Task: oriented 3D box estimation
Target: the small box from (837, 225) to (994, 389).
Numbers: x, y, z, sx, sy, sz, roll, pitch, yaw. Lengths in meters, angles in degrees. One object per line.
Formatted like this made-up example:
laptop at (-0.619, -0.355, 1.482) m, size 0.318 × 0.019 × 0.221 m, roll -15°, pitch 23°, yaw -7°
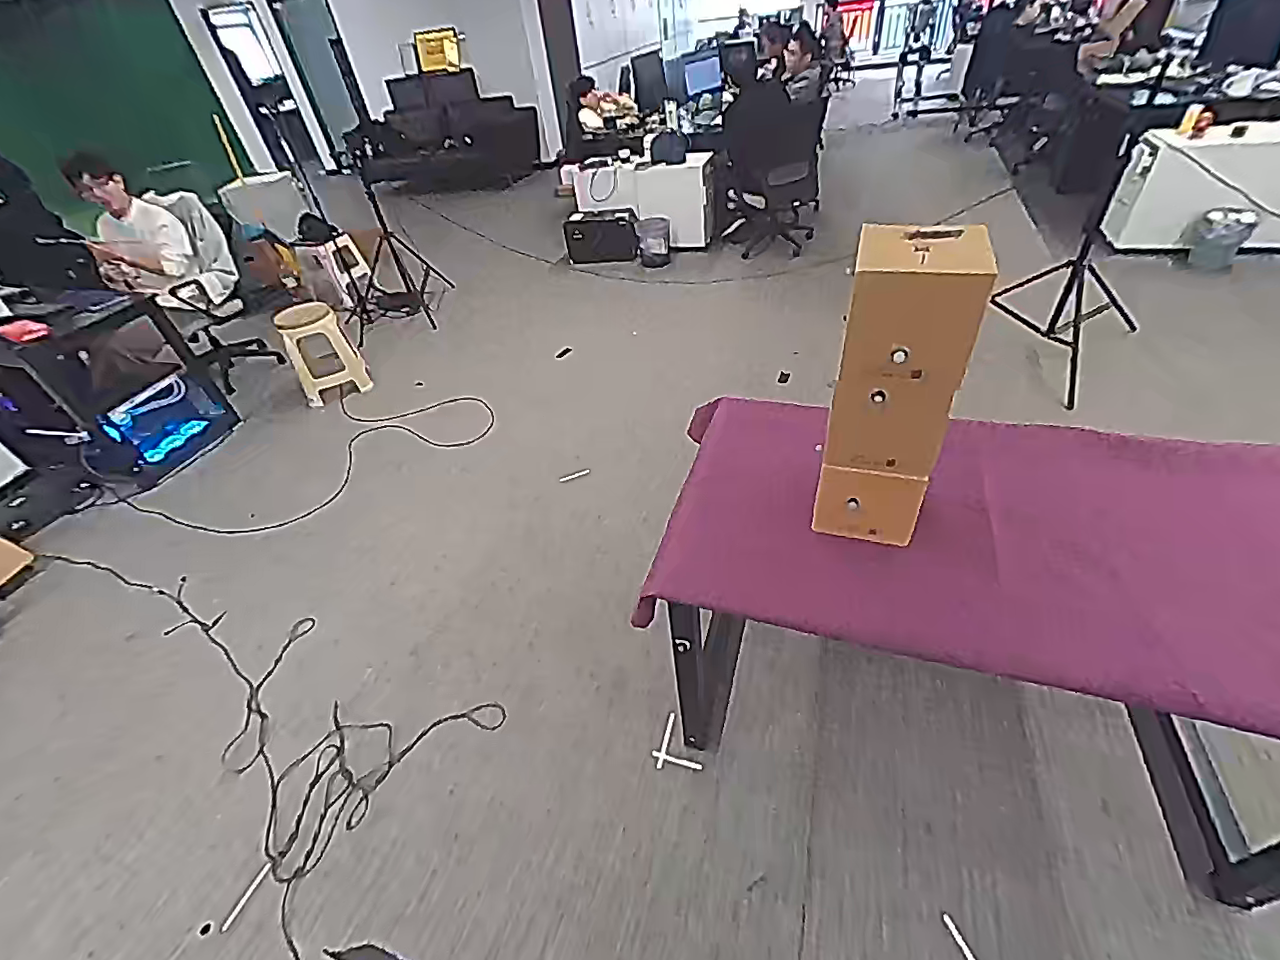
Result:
small box at (0.389, -0.255, 0.788) m, size 0.168 × 0.176 × 0.179 m, roll 9°, pitch 44°, yaw 19°

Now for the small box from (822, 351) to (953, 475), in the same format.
small box at (0.403, -0.134, 0.899) m, size 0.168 × 0.176 × 0.179 m, roll 8°, pitch 43°, yaw 18°

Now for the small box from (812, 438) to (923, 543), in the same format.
small box at (0.418, -0.008, 1.002) m, size 0.168 × 0.176 × 0.179 m, roll 9°, pitch 44°, yaw 19°
